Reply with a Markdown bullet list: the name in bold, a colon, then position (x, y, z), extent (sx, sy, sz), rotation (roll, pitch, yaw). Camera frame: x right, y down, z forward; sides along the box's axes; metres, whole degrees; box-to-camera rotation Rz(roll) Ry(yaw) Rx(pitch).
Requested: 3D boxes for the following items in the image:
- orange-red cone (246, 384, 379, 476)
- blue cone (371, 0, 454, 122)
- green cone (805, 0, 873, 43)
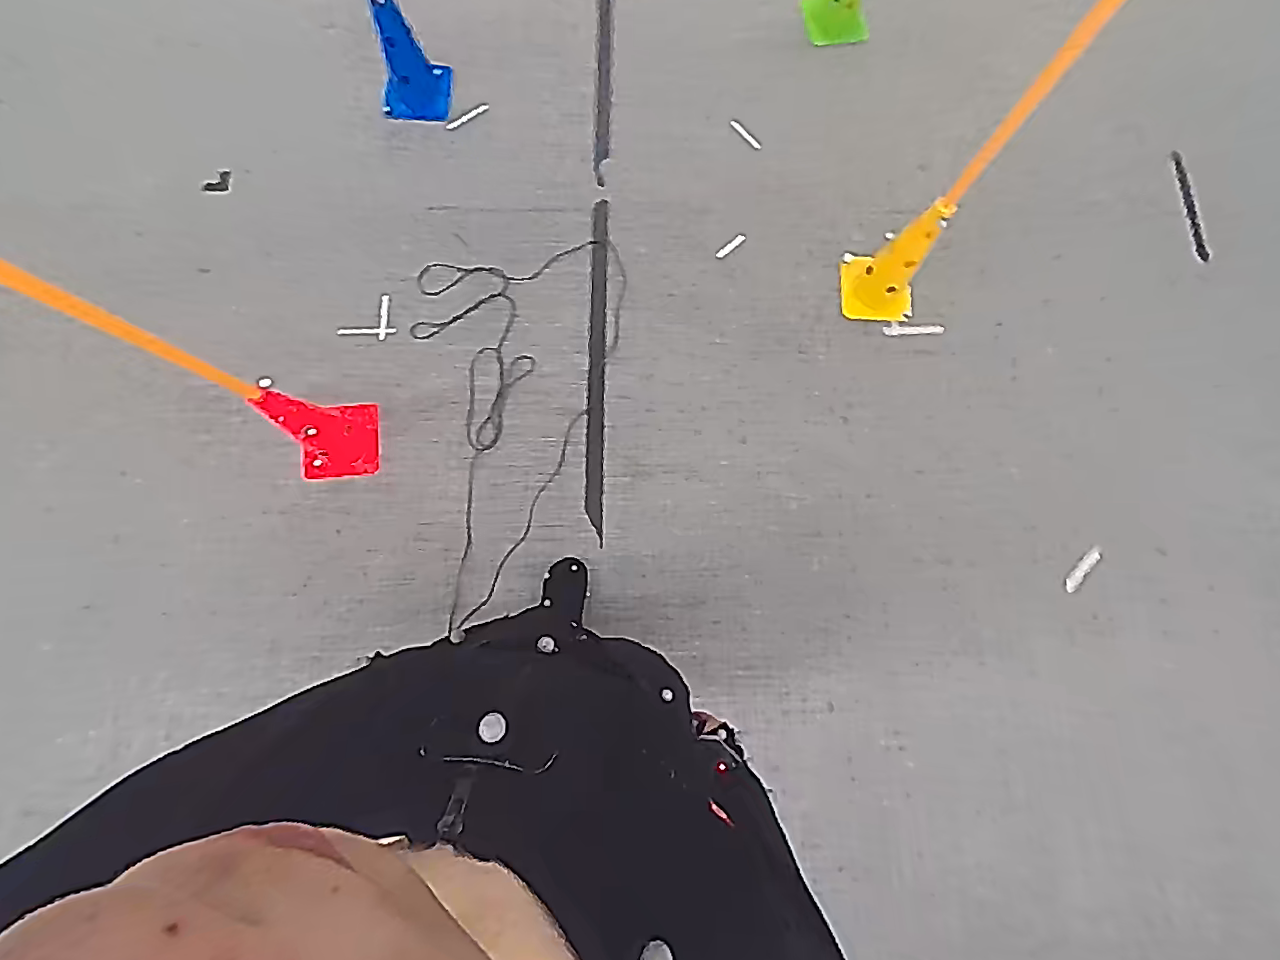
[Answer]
- **orange-red cone**: position (-0.782, -0.144, 1.260), extent (0.199, 0.360, 0.198), rotation (-4, 79, -4)
- **blue cone**: position (-0.665, -1.222, 1.500), extent (0.193, 0.380, 0.192), rotation (3, 79, -1)
- **green cone**: position (0.656, -1.551, 1.599), extent (0.200, 0.368, 0.202), rotation (-10, 81, -4)
